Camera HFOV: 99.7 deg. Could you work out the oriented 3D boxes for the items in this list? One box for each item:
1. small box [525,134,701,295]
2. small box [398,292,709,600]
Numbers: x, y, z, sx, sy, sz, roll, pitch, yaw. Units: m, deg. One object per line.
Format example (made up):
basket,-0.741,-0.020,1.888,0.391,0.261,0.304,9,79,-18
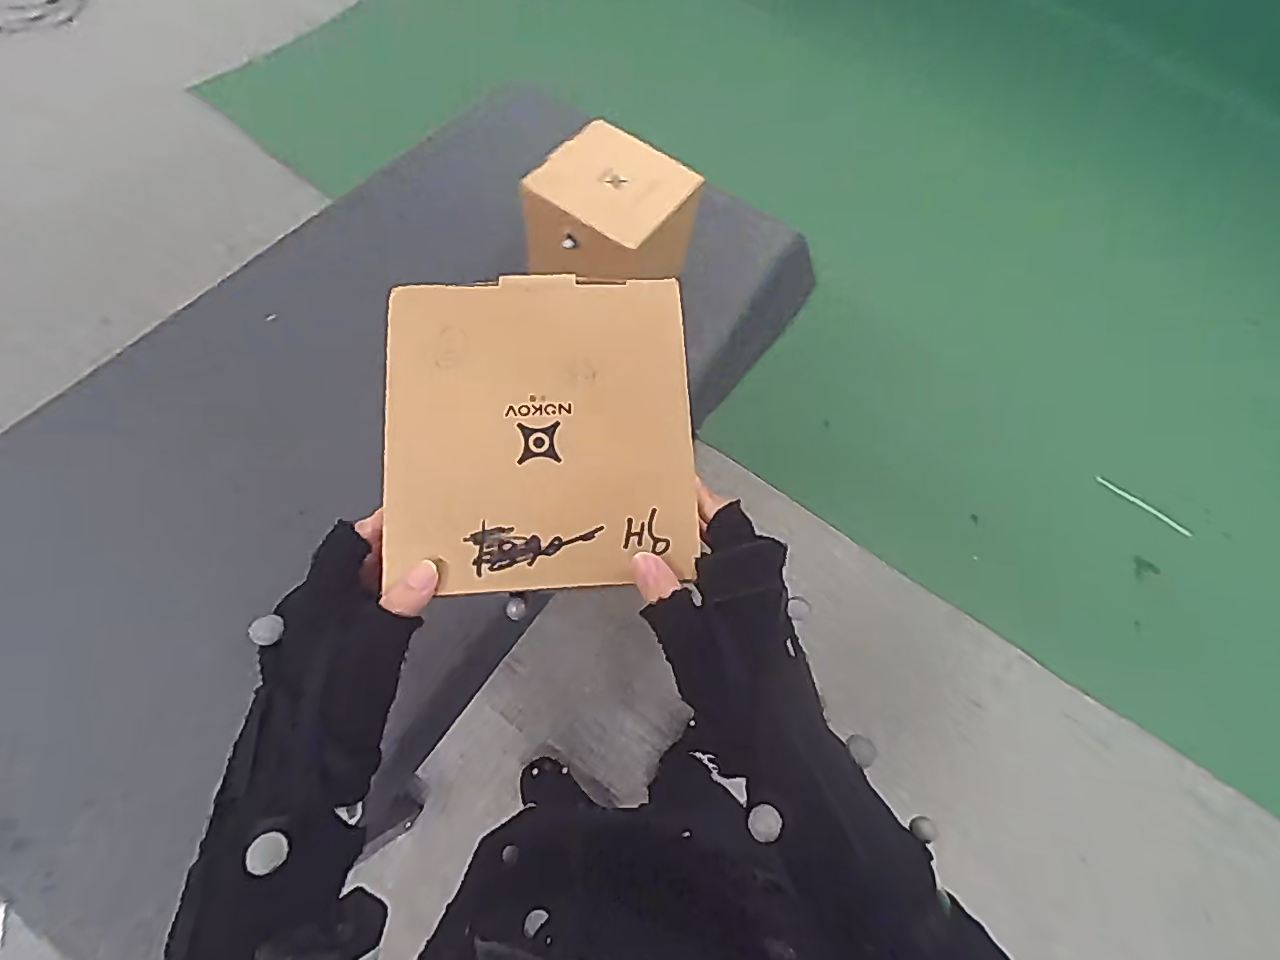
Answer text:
small box,-0.041,-0.340,0.774,0.179,0.176,0.168,34,68,8
small box,-0.049,-0.008,0.378,0.168,0.176,0.179,-2,78,-2
